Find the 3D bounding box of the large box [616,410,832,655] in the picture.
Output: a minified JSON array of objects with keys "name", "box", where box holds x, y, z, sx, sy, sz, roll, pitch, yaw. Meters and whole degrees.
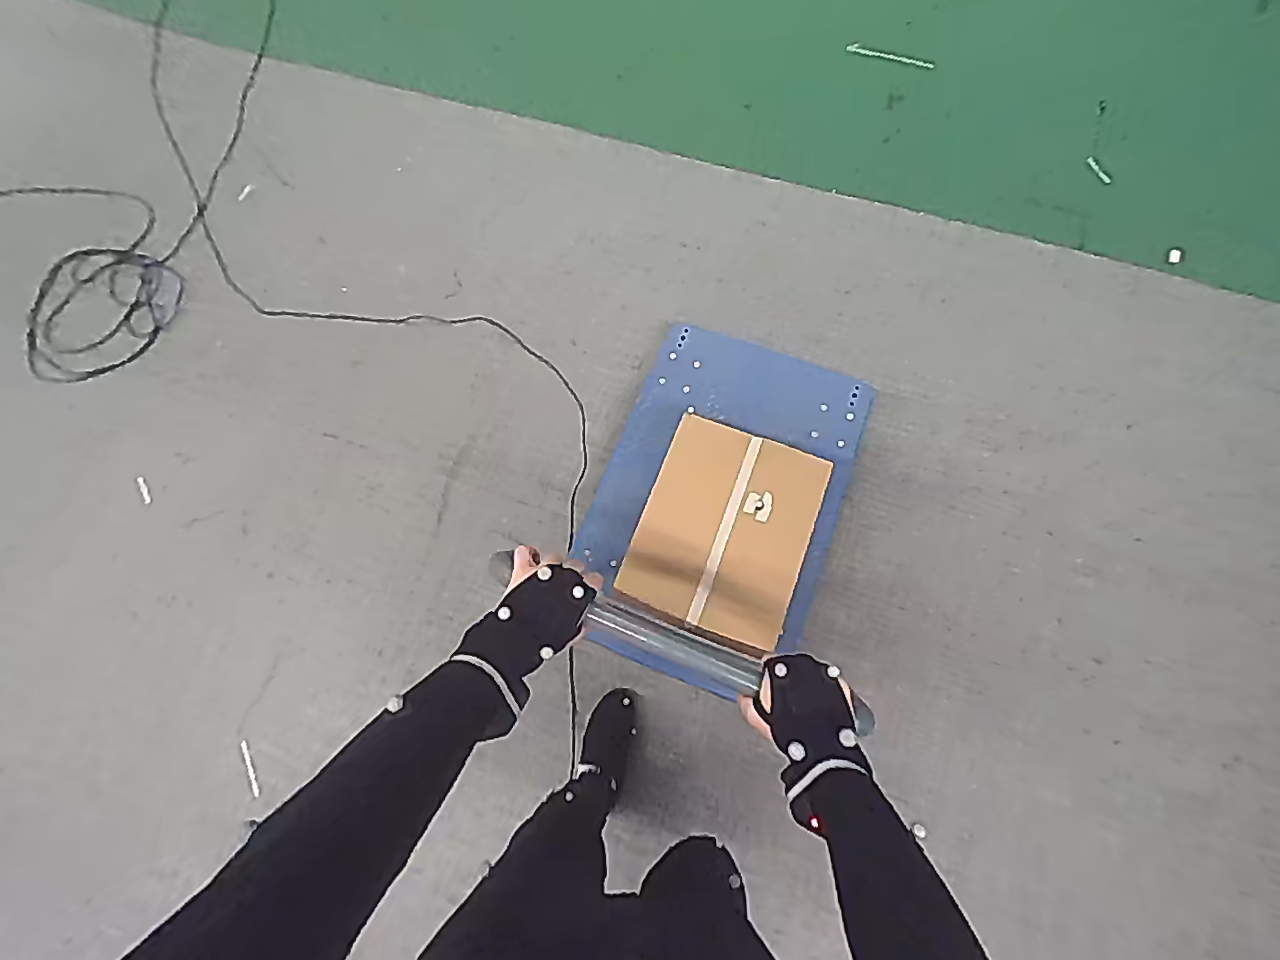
[{"name":"large box","box":[0.171,0.130,1.163,0.320,0.320,0.408,21,74,7]}]
